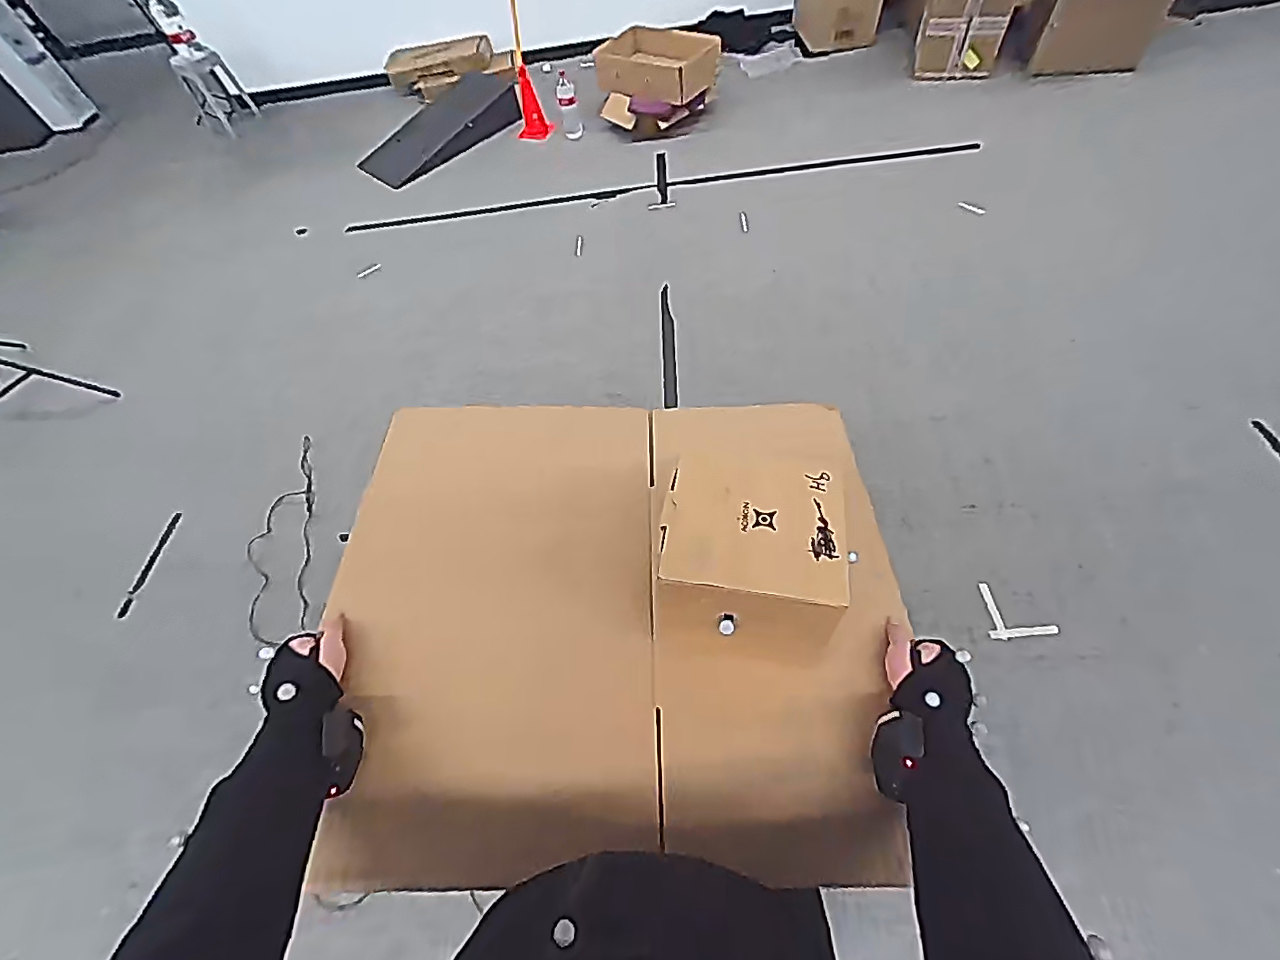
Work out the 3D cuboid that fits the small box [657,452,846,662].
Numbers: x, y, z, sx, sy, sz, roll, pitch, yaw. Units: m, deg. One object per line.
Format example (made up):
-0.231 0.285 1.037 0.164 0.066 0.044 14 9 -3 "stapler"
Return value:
0.121 0.090 0.608 0.179 0.176 0.168 6 54 9 "small box"
